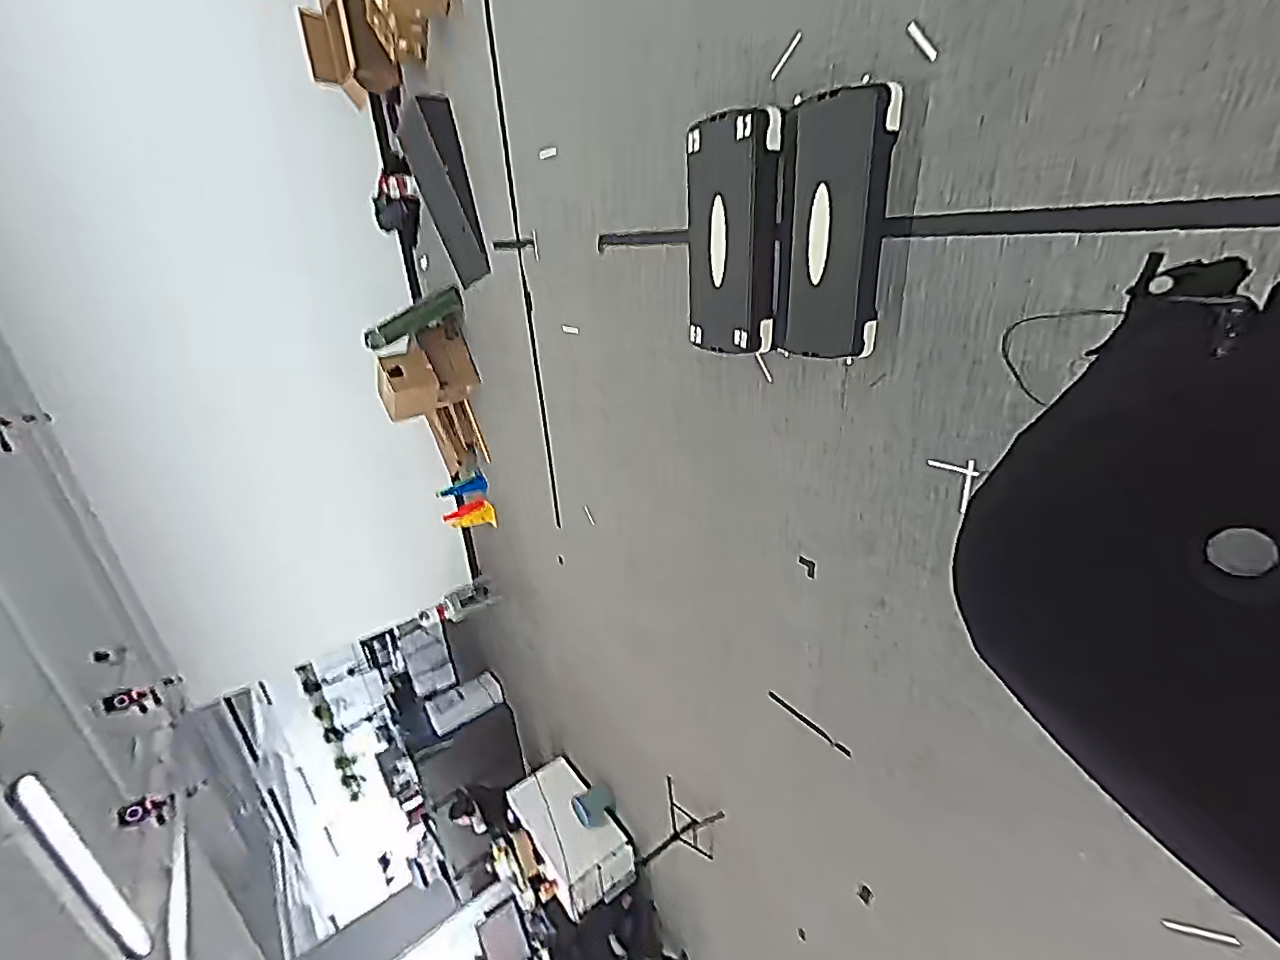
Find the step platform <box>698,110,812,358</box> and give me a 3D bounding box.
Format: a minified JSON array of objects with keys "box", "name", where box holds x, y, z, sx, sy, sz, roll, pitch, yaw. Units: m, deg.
[{"box":[0.339,-0.726,1.668,0.286,0.204,0.684,23,124,48],"name":"step platform"}]
